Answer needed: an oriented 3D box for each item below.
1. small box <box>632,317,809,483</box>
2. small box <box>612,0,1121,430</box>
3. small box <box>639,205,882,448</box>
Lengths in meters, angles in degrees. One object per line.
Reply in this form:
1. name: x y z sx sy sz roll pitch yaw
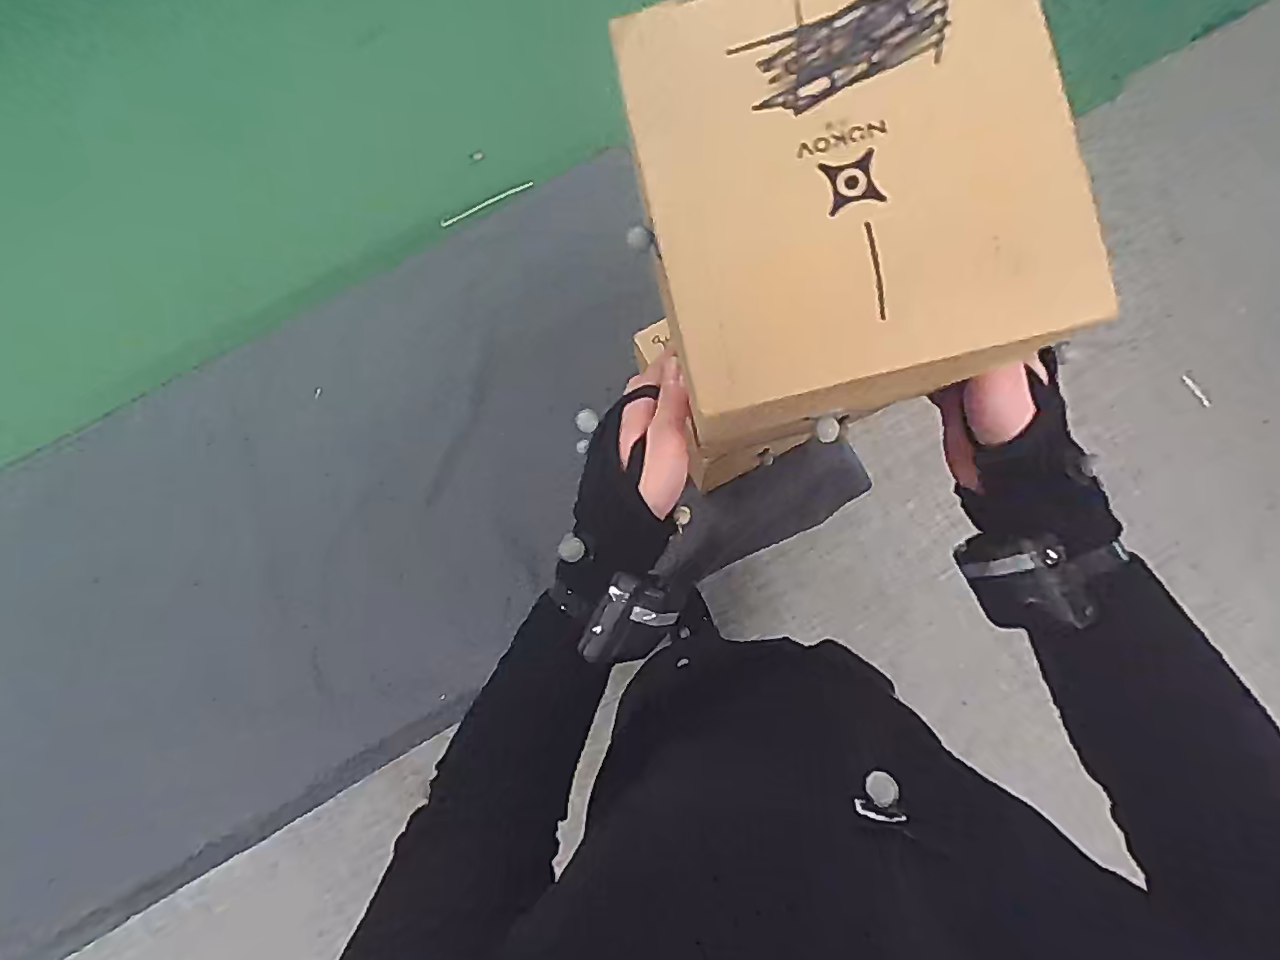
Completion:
1. small box: 0.106 -0.109 0.664 0.168 0.176 0.179 -27 77 -2
2. small box: 0.089 -0.135 0.290 0.168 0.176 0.179 -13 88 6
3. small box: 0.106 -0.130 0.454 0.168 0.176 0.179 -14 84 6
